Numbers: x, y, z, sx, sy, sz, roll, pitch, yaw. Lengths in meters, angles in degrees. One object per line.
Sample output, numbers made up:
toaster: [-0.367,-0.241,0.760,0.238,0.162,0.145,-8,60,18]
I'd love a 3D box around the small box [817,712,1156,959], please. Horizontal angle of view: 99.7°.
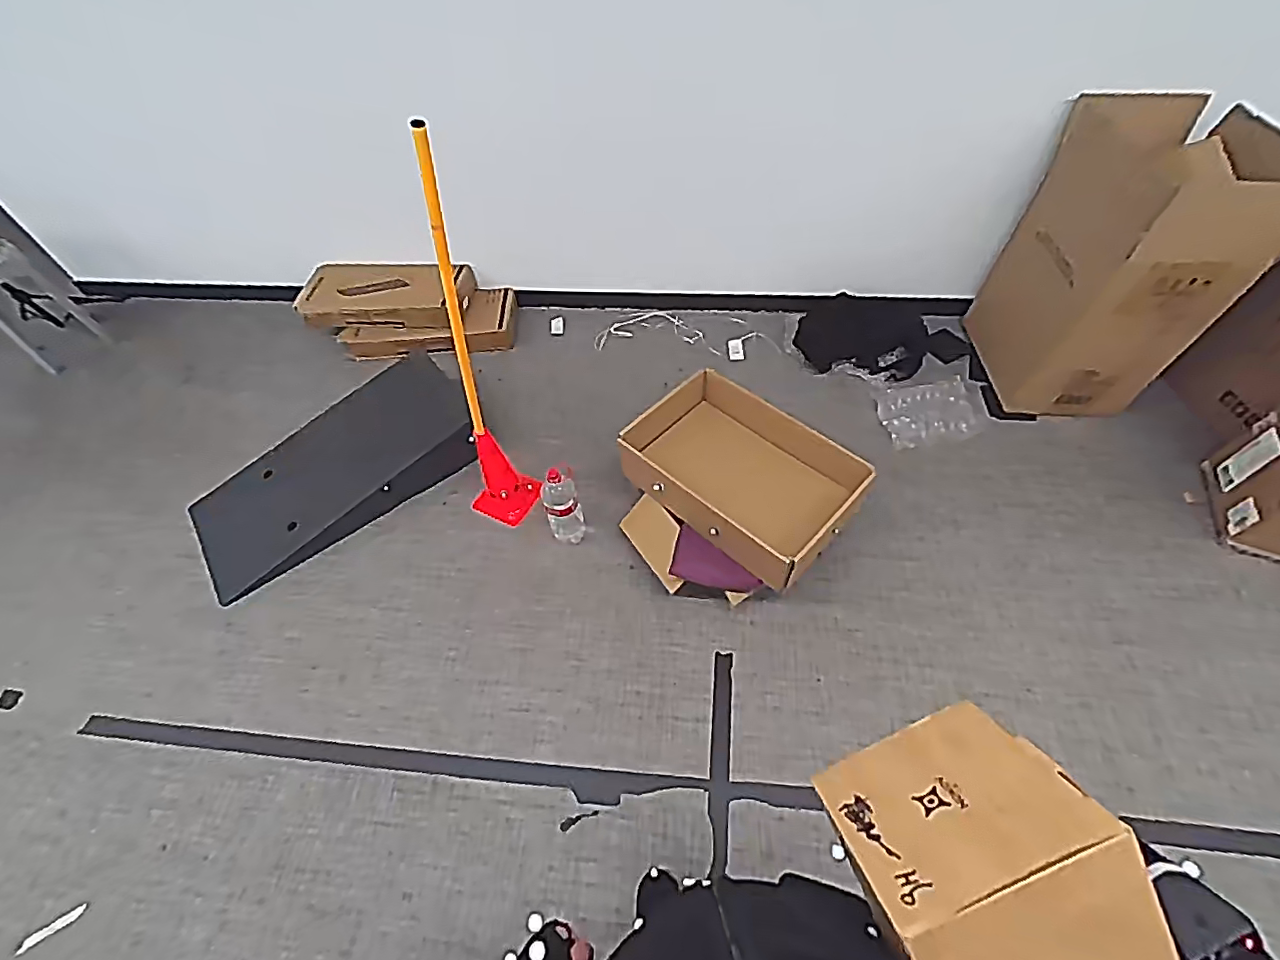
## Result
small box: [0.290,0.348,0.470,0.179,0.168,0.176,-25,98,-1]
